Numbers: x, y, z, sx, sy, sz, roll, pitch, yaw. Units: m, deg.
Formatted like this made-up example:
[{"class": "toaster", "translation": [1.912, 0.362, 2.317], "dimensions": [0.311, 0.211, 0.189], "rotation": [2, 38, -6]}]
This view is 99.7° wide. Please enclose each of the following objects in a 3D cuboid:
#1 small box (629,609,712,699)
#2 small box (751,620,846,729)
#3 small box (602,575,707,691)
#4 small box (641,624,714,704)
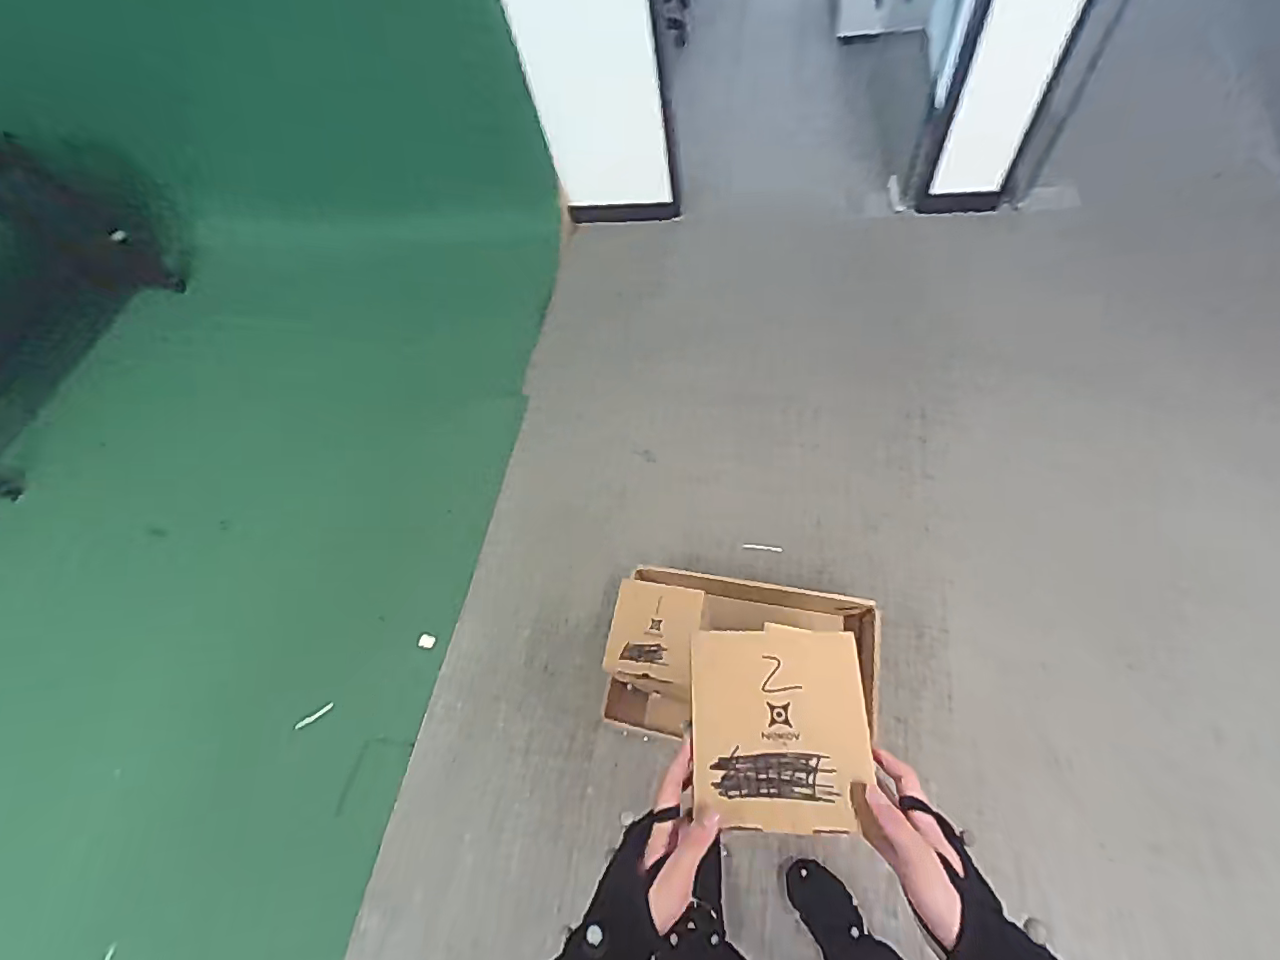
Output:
[{"class": "small box", "translation": [0.064, 0.377, 1.212], "dimensions": [0.168, 0.176, 0.179], "rotation": [9, 66, 13]}, {"class": "small box", "translation": [0.330, 0.416, 1.147], "dimensions": [0.168, 0.176, 0.179], "rotation": [9, 66, 14]}, {"class": "small box", "translation": [0.038, 0.307, 1.066], "dimensions": [0.168, 0.176, 0.179], "rotation": [7, 64, 13]}, {"class": "small box", "translation": [0.088, 0.447, 1.356], "dimensions": [0.168, 0.176, 0.179], "rotation": [9, 65, 14]}]
